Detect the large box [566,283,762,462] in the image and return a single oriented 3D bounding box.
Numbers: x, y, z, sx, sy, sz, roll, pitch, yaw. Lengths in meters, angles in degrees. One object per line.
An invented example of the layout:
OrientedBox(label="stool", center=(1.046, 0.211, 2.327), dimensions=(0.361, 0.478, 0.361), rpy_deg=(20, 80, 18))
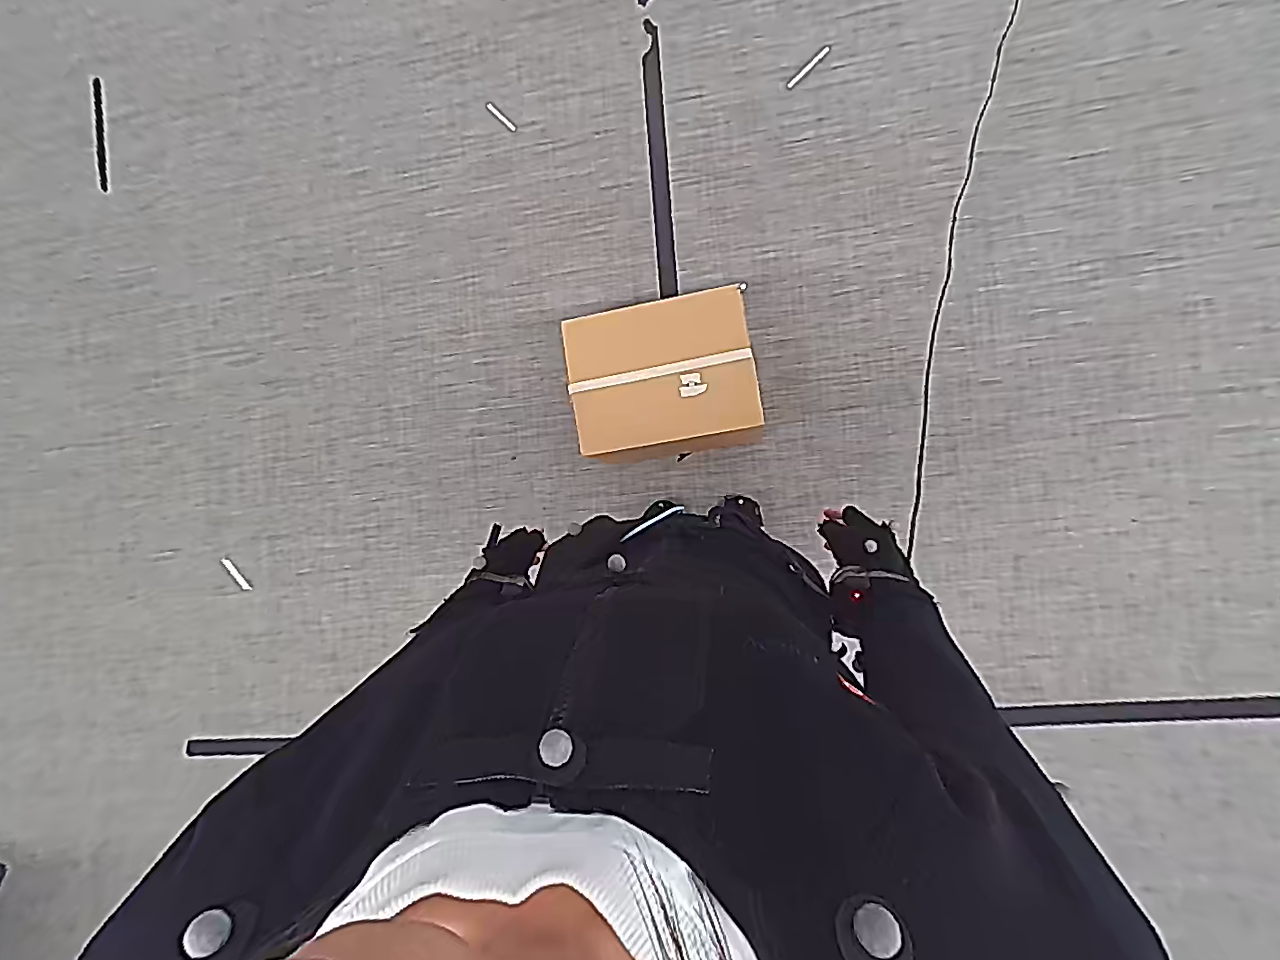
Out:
OrientedBox(label="large box", center=(0.067, -0.239, 1.340), dimensions=(0.408, 0.320, 0.320), rpy_deg=(-9, 87, 8))
